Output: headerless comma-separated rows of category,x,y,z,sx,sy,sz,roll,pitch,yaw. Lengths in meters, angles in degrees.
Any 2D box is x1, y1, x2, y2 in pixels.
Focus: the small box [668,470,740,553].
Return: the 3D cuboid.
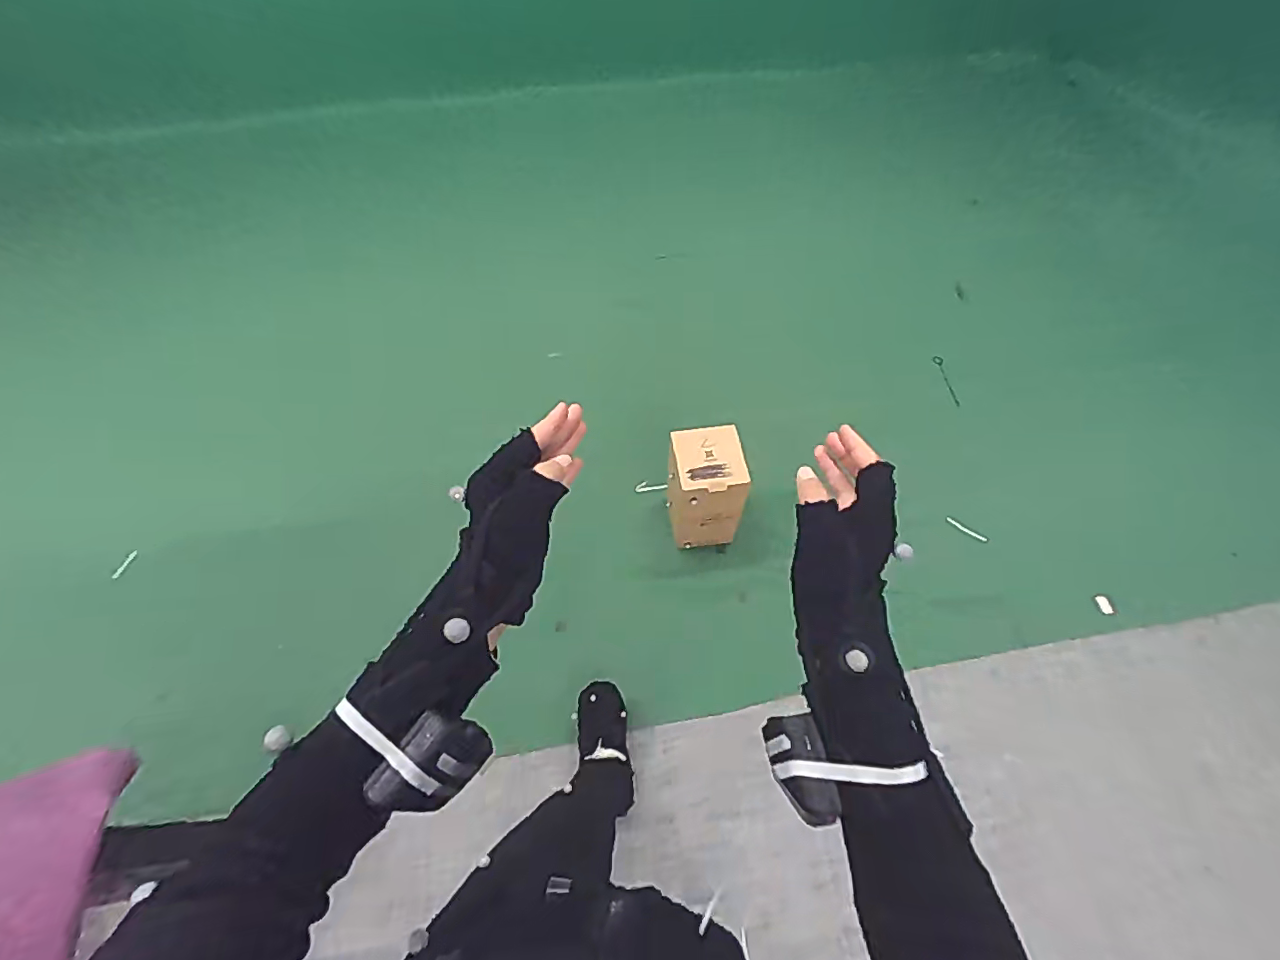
small box,0.173,0.096,1.519,0.168,0.176,0.179,-6,58,-4
